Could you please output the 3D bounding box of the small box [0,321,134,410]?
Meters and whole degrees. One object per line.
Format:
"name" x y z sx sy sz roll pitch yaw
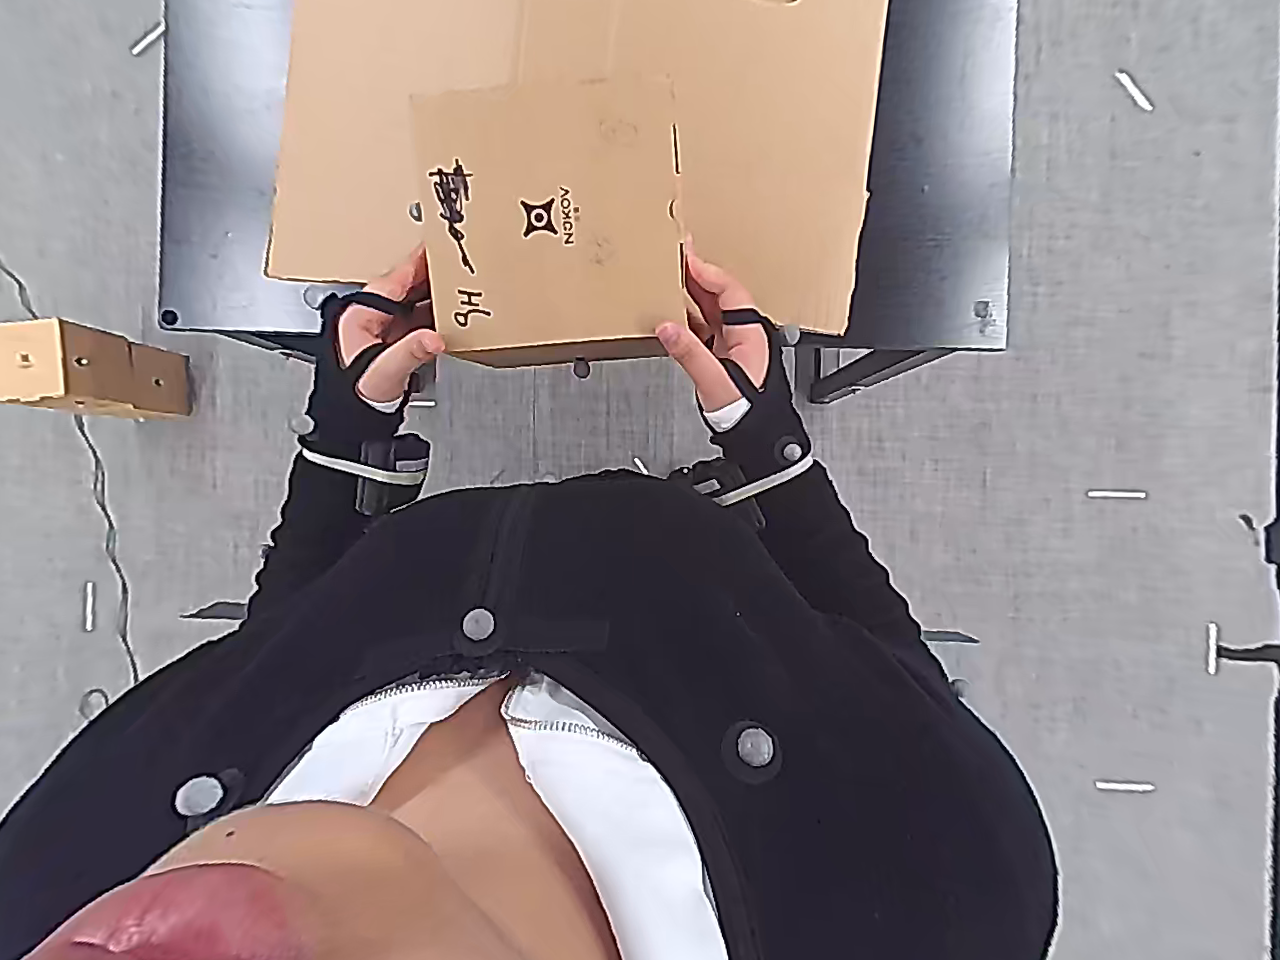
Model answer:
"small box" -1.353 -0.262 1.279 0.168 0.176 0.179 -5 89 0

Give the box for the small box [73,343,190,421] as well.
"small box" -1.350 -0.256 1.442 0.168 0.176 0.179 -3 91 1
